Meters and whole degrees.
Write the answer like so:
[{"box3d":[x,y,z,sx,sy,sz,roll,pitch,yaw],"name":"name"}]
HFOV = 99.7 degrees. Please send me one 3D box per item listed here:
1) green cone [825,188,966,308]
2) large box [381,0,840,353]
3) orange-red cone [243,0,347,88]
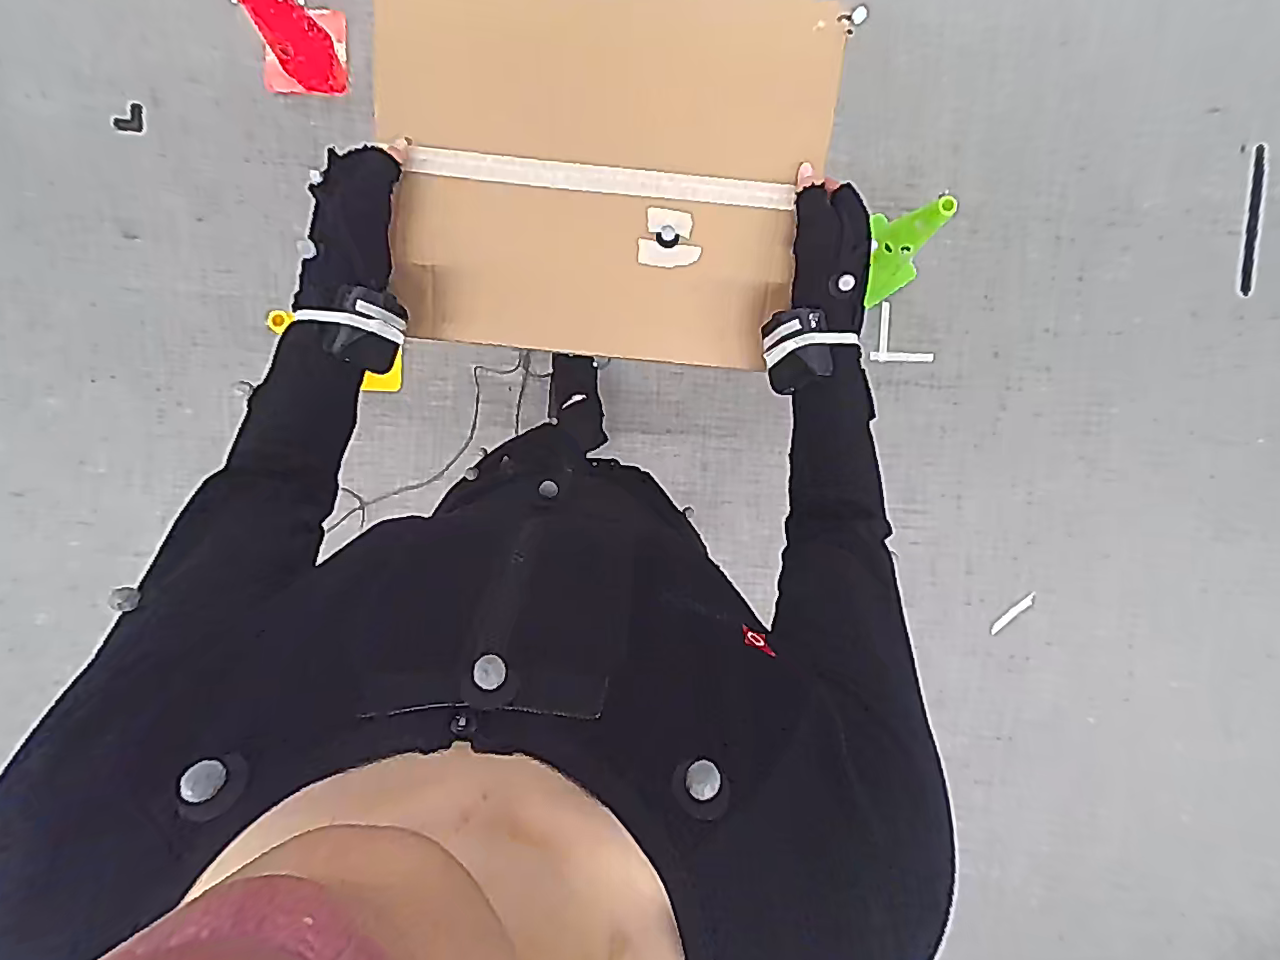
[{"box3d":[0.621,-0.571,1.257,0.202,0.368,0.200,-34,95,0],"name":"green cone"},{"box3d":[-0.038,-0.324,0.641,0.408,0.320,0.320,5,105,-2],"name":"large box"},{"box3d":[-0.831,-1.070,1.183,0.198,0.360,0.199,1,96,-1],"name":"orange-red cone"}]
